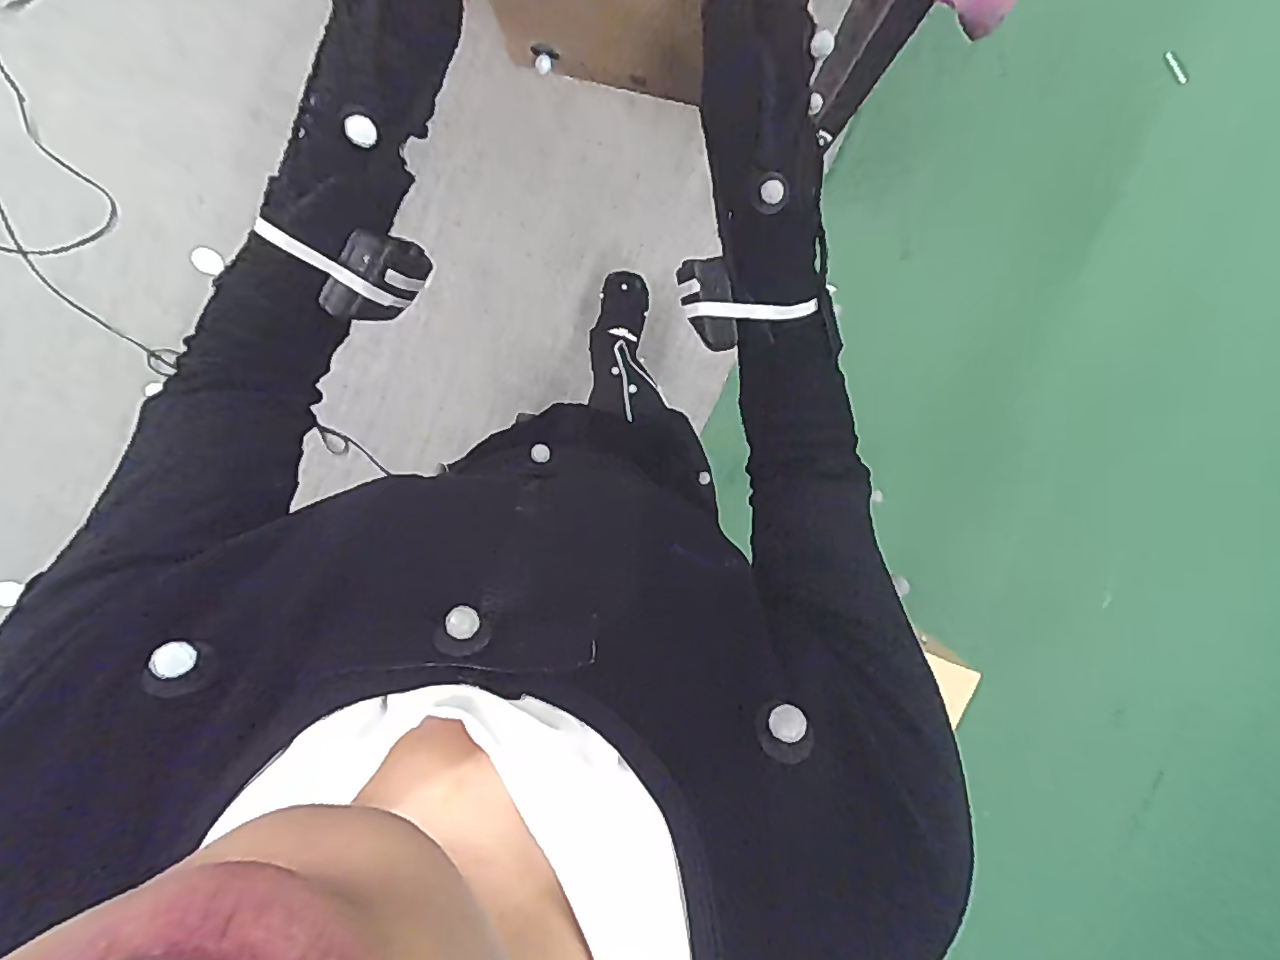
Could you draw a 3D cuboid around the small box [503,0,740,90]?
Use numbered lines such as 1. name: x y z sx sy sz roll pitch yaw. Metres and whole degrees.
1. small box: -0.003 -0.390 0.339 0.168 0.176 0.179 10 101 -5
